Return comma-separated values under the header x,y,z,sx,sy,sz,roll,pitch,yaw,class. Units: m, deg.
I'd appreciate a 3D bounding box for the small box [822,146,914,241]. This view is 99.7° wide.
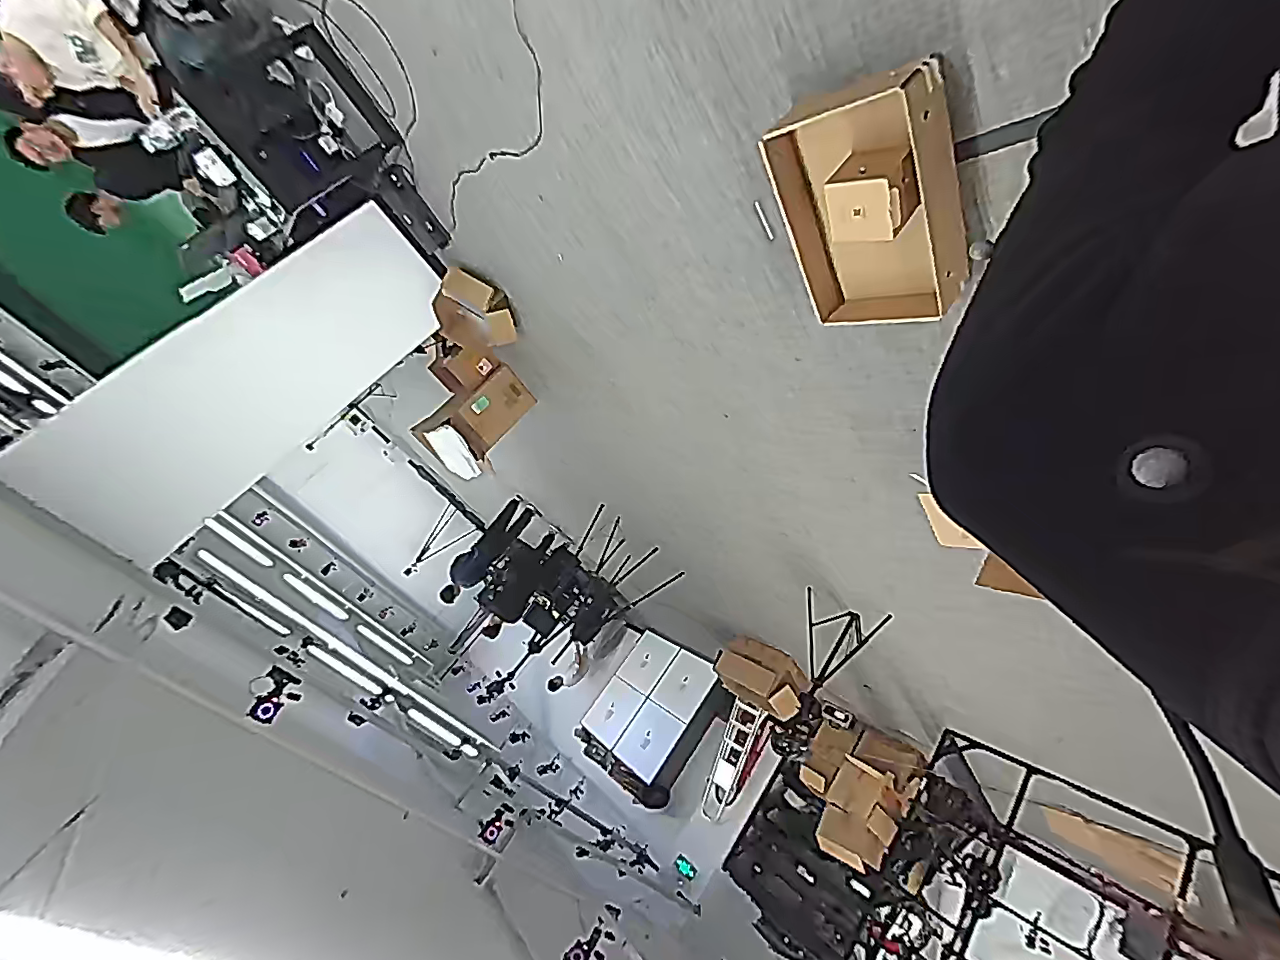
x,y,z,sx,sy,sz,roll,pitch,yaw,class
0.616,-0.763,1.446,0.179,0.176,0.168,20,152,41,small box
